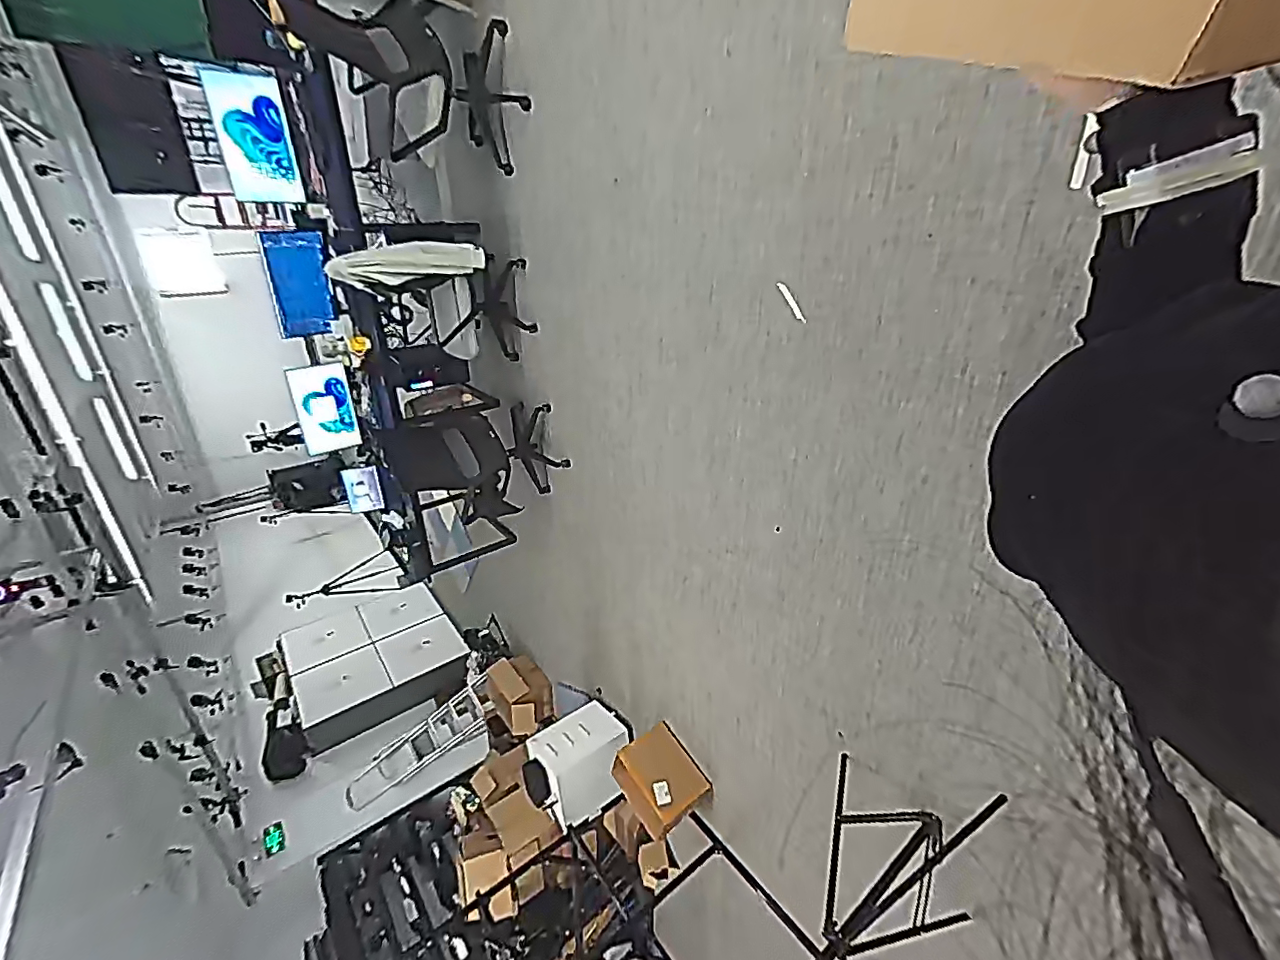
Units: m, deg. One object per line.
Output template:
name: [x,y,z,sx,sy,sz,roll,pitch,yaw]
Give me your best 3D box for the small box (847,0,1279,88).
small box: [0.237,-0.300,0.248,0.179,0.176,0.168,45,150,38]
